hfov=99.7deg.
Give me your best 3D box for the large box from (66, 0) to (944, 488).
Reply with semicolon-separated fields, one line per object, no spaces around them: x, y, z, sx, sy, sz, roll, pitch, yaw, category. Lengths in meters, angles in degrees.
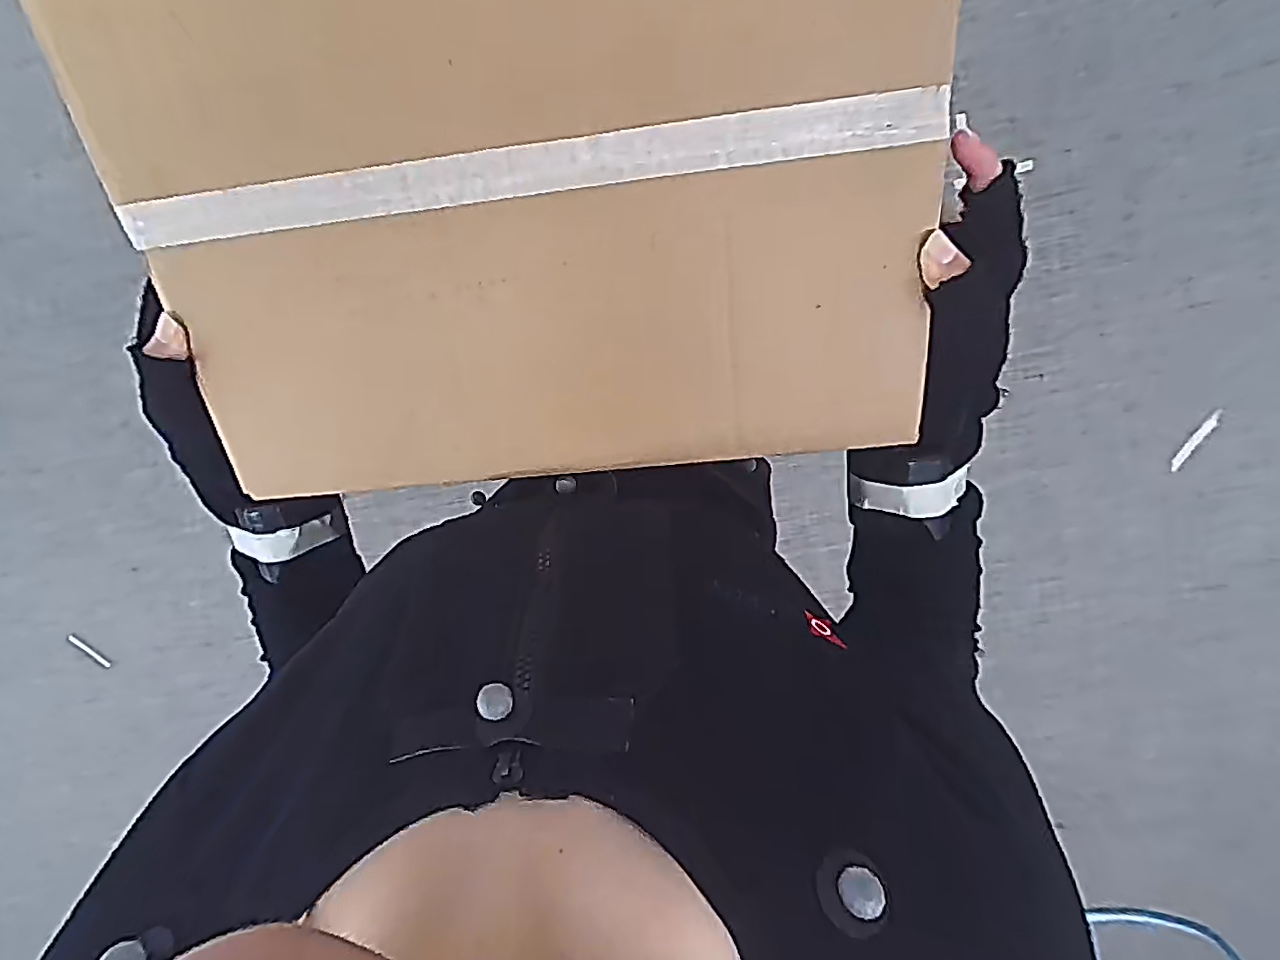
-0.054;-0.211;0.407;0.408;0.320;0.320;-5;114;5;large box
